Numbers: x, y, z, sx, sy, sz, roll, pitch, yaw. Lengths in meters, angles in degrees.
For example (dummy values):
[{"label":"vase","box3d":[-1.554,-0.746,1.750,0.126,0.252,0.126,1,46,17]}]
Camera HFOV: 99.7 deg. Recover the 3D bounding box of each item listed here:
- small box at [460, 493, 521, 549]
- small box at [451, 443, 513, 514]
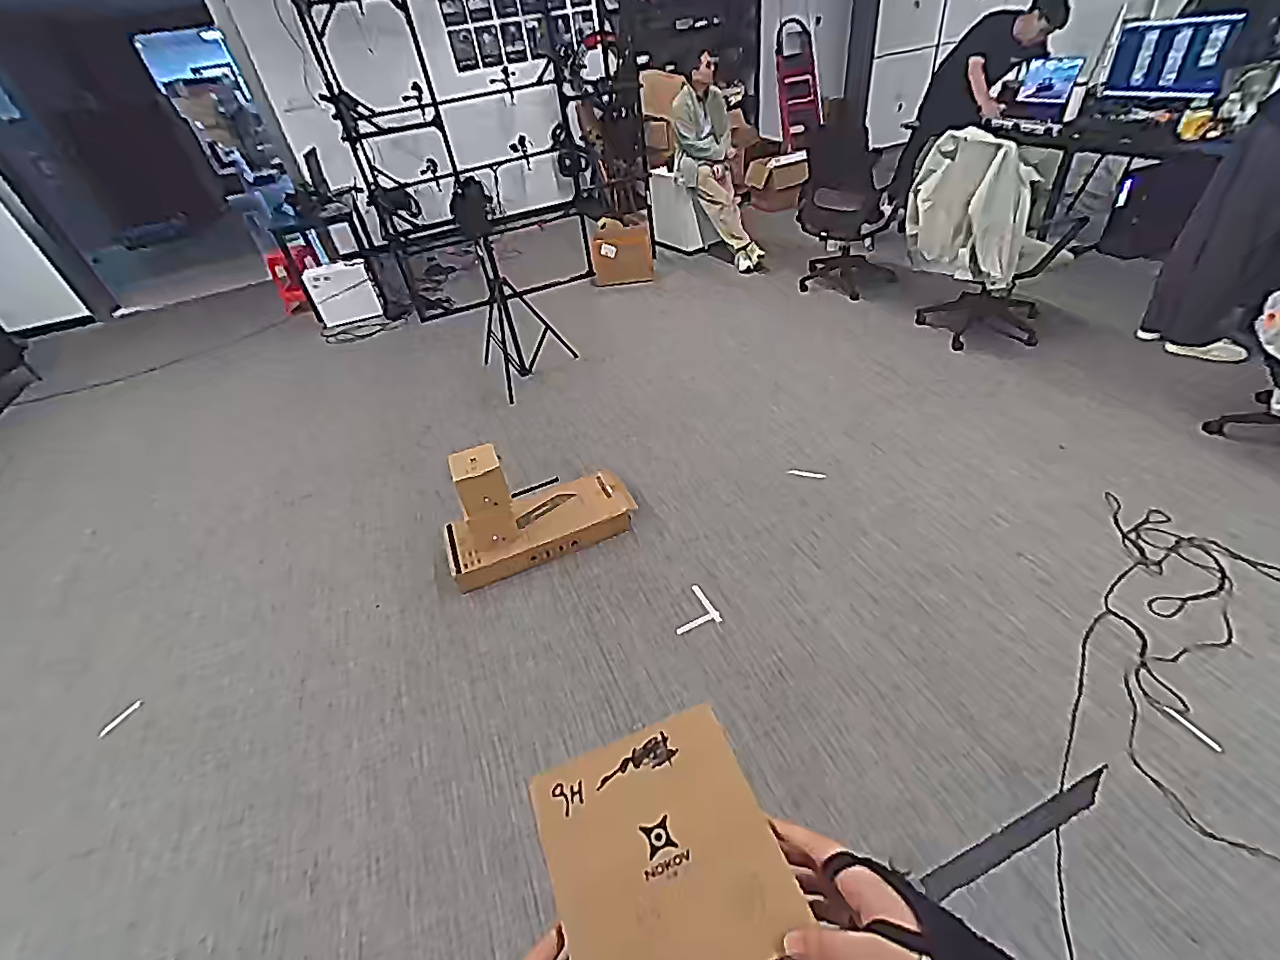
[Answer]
[{"label":"small box","box3d":[-0.570,0.133,2.066,0.168,0.176,0.179,-21,41,-14]},{"label":"small box","box3d":[-0.576,-0.004,1.972,0.168,0.176,0.179,-20,40,-13]}]
